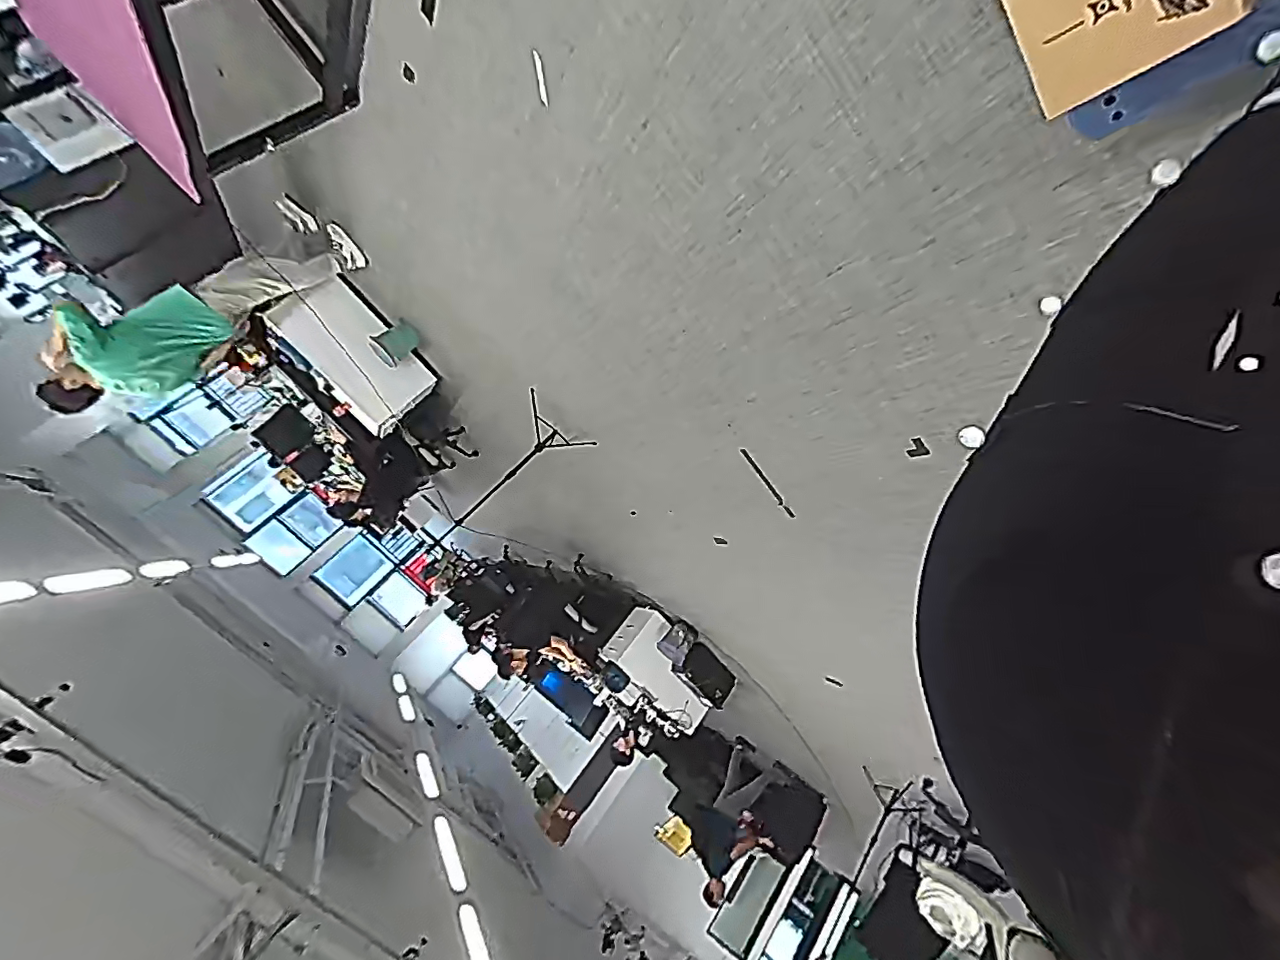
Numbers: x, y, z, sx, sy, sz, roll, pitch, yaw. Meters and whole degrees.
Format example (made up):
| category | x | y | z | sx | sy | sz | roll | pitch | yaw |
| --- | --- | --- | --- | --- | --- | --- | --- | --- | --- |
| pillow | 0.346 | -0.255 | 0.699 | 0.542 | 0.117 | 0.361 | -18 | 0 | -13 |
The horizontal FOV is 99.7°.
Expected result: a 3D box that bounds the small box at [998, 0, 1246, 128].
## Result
| category | x | y | z | sx | sy | sz | roll | pitch | yaw |
| --- | --- | --- | --- | --- | --- | --- | --- | --- | --- |
| small box | 0.564 | -0.567 | 0.627 | 0.168 | 0.176 | 0.179 | 52 | 155 | -19 |
